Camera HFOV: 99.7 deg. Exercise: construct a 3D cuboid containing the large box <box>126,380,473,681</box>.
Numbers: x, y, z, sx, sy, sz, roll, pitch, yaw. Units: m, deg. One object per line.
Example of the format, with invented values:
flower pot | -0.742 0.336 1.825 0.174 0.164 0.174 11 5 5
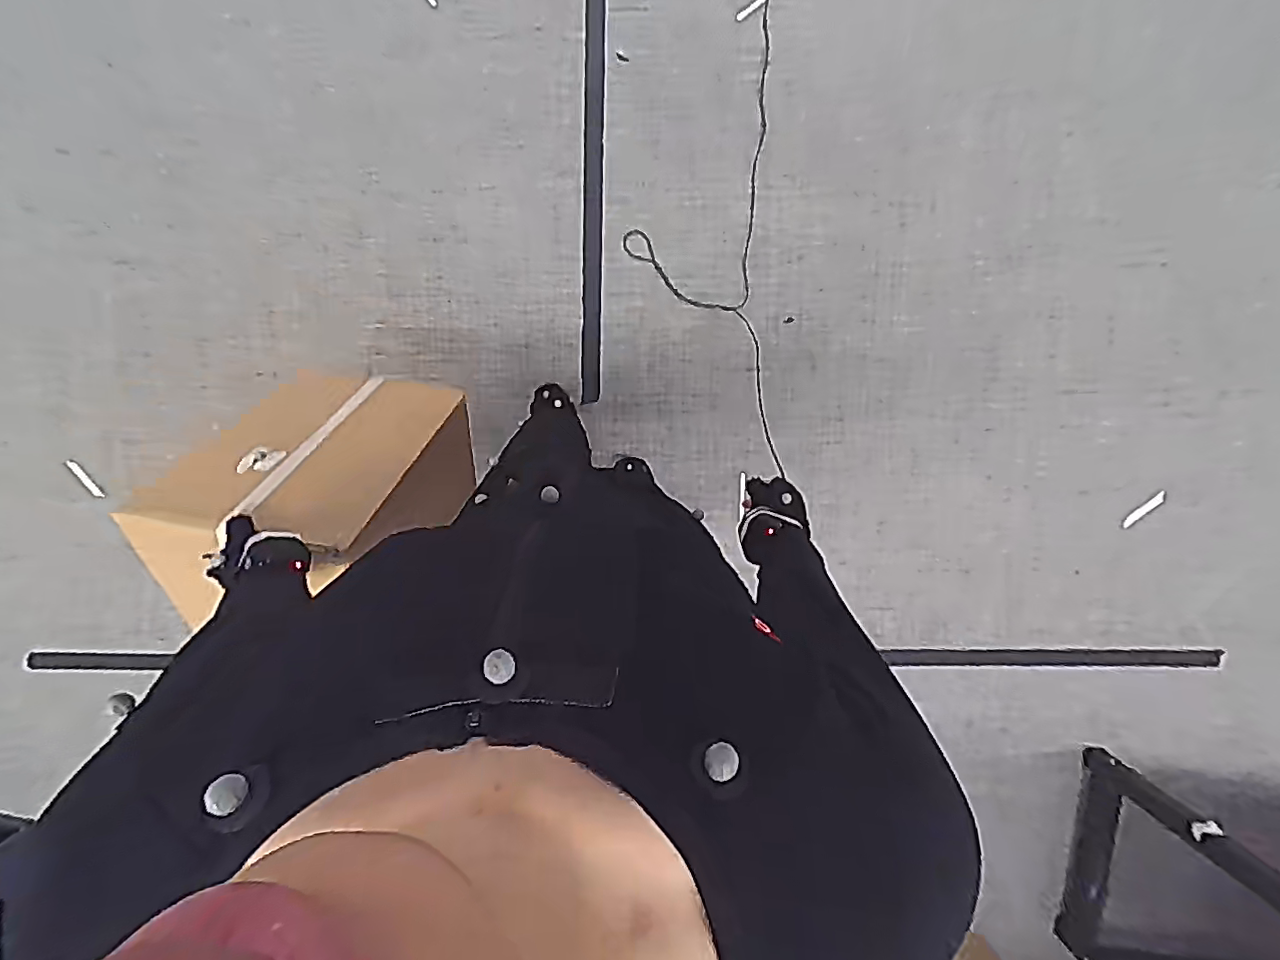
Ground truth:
large box | -0.516 0.071 0.944 0.320 0.408 0.320 7 129 2
